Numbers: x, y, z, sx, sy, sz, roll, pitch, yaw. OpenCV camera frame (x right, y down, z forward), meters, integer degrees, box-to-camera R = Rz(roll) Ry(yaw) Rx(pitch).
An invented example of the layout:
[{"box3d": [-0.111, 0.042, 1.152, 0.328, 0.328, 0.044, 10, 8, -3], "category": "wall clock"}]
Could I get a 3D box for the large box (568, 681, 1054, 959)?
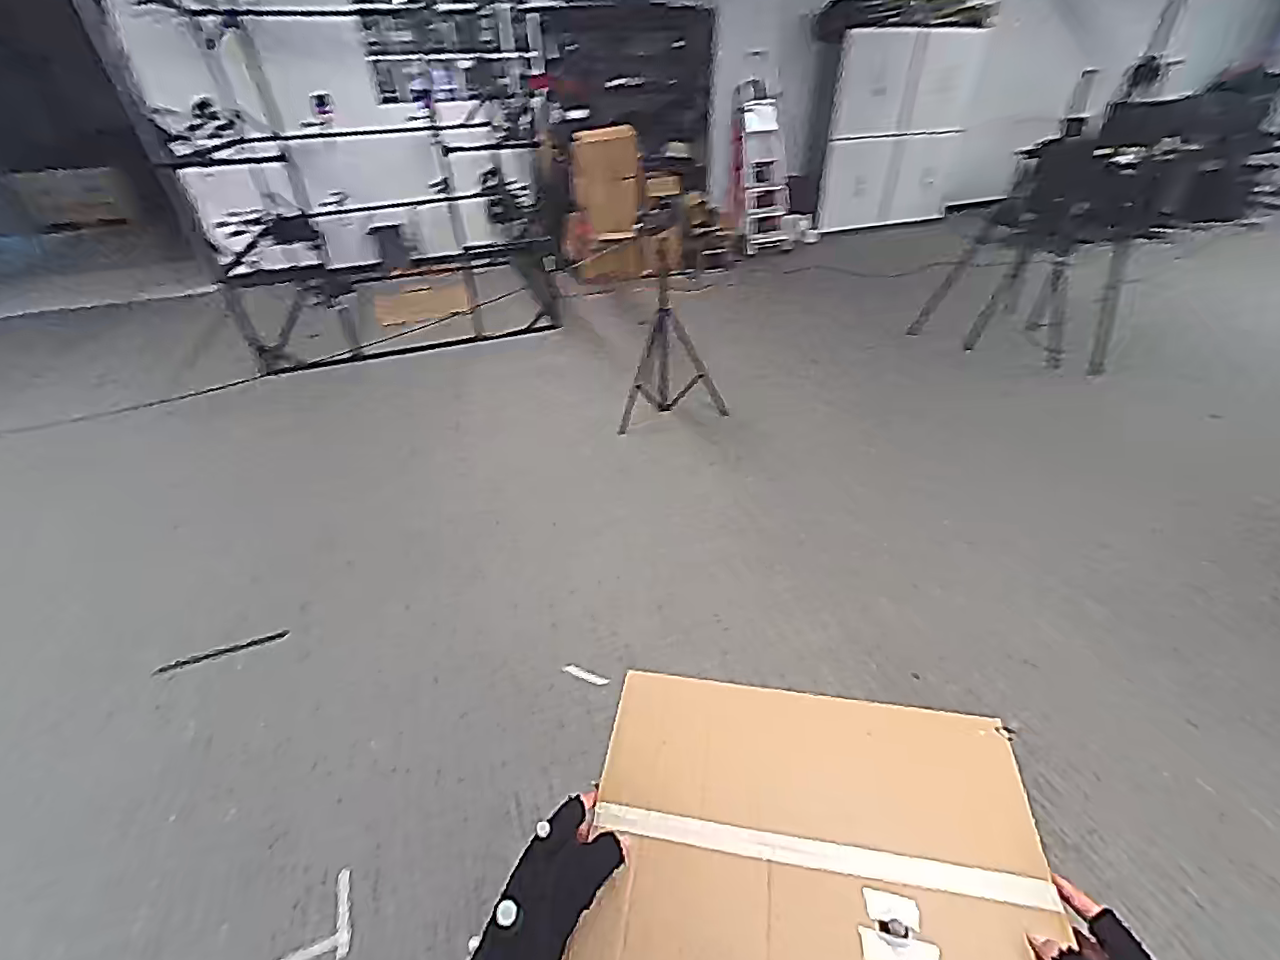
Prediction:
[{"box3d": [0.159, 0.461, 0.605, 0.408, 0.320, 0.320, 3, 41, 9], "category": "large box"}]
